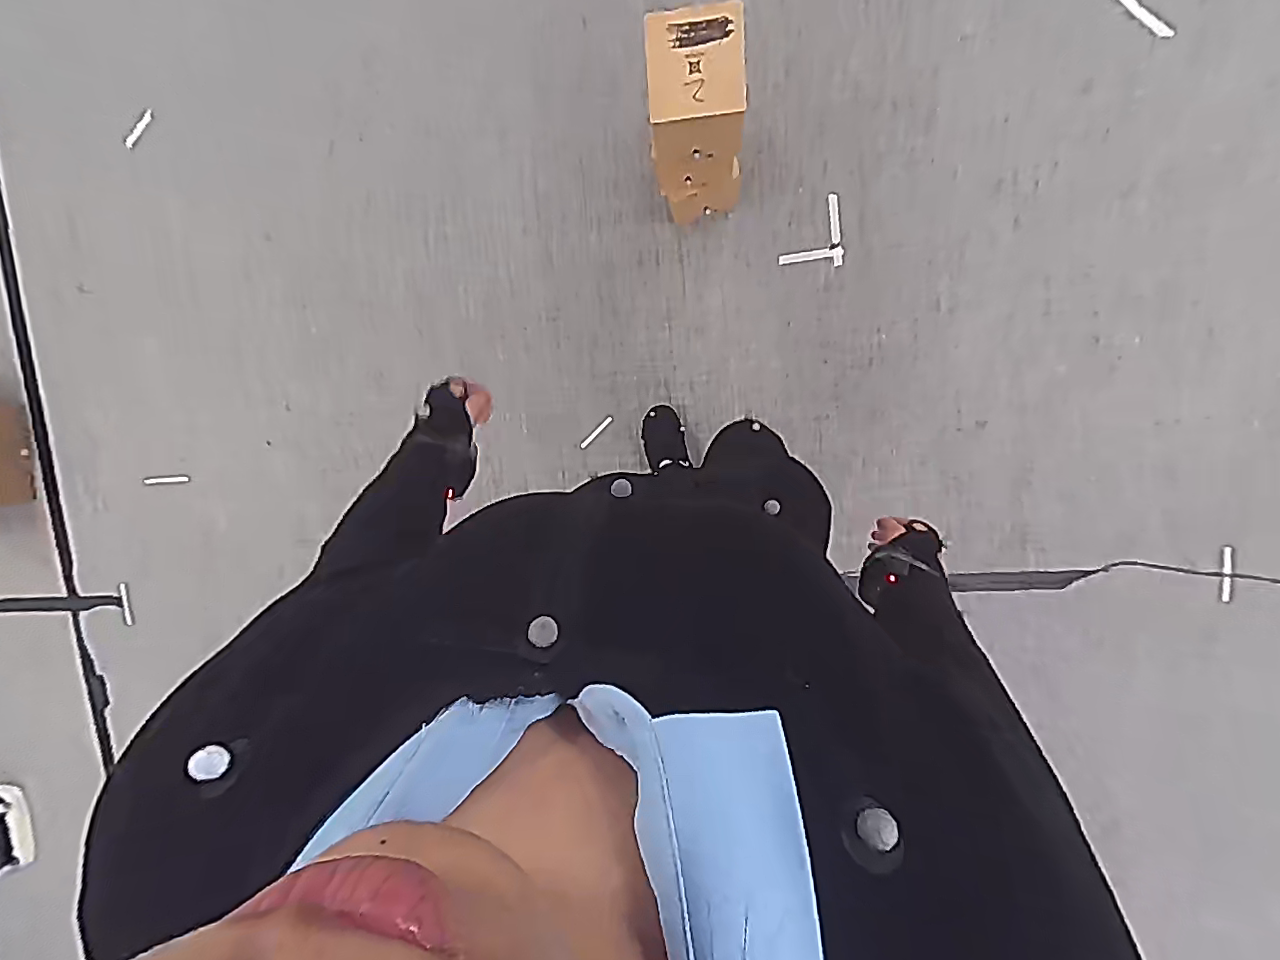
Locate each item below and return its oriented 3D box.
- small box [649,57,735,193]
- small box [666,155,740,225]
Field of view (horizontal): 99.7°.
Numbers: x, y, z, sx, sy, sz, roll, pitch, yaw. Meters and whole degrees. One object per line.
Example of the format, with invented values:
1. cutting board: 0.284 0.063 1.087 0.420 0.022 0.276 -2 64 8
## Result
1. small box: 0.109 -0.738 1.141 0.168 0.176 0.179 -3 96 7
2. small box: 0.136 -0.750 1.302 0.168 0.176 0.179 -16 94 9
